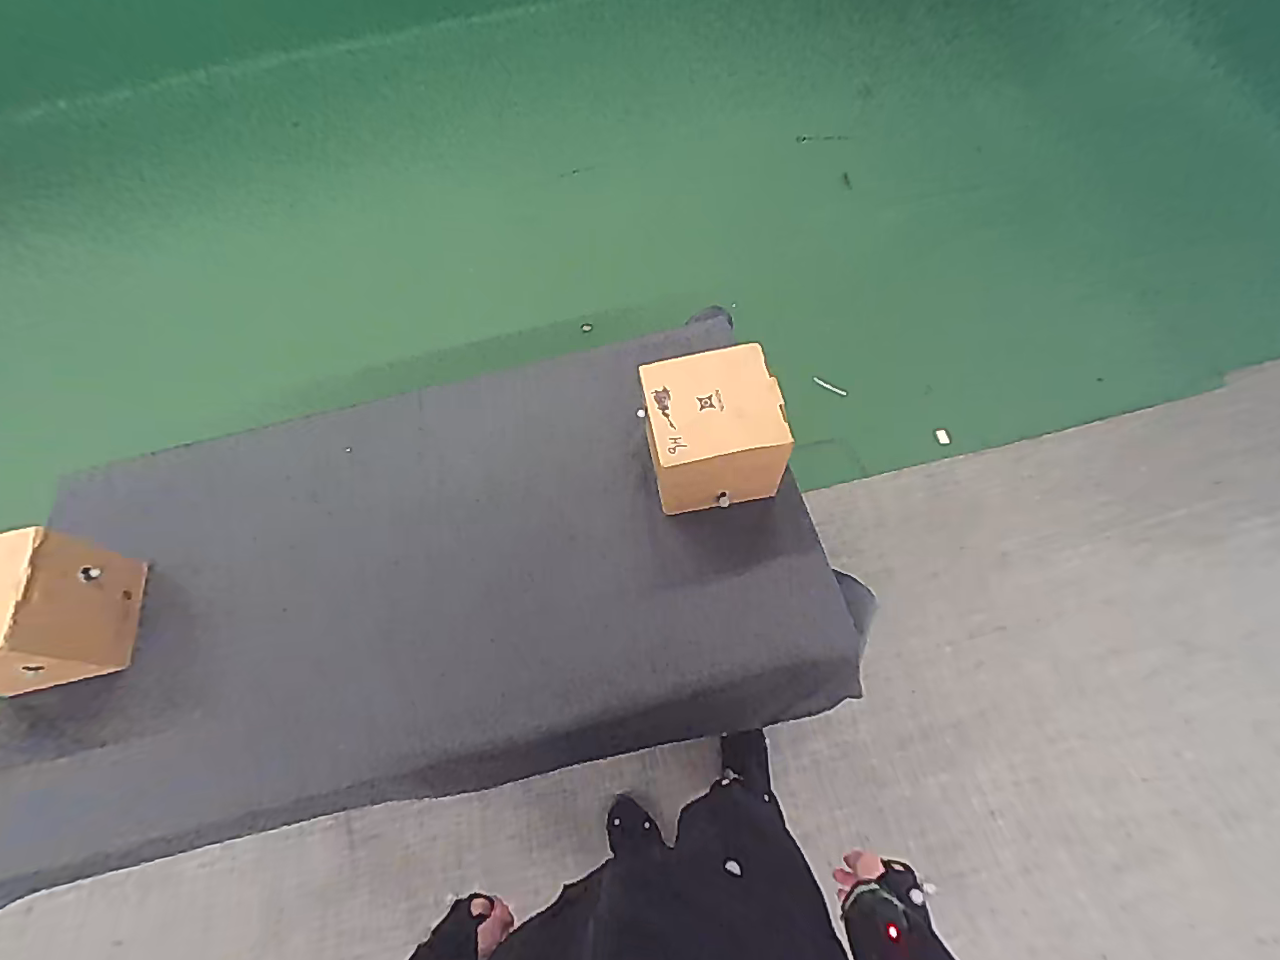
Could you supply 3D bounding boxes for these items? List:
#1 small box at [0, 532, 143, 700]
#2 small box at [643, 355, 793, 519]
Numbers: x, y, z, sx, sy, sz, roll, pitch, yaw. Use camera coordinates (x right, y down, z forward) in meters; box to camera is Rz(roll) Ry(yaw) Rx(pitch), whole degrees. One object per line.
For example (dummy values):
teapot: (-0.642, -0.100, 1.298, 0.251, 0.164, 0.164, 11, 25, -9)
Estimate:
small box: (-0.841, 0.190, 0.732, 0.179, 0.176, 0.168, -11, 61, -2)
small box: (0.104, -0.056, 0.801, 0.179, 0.176, 0.168, -11, 64, -1)
